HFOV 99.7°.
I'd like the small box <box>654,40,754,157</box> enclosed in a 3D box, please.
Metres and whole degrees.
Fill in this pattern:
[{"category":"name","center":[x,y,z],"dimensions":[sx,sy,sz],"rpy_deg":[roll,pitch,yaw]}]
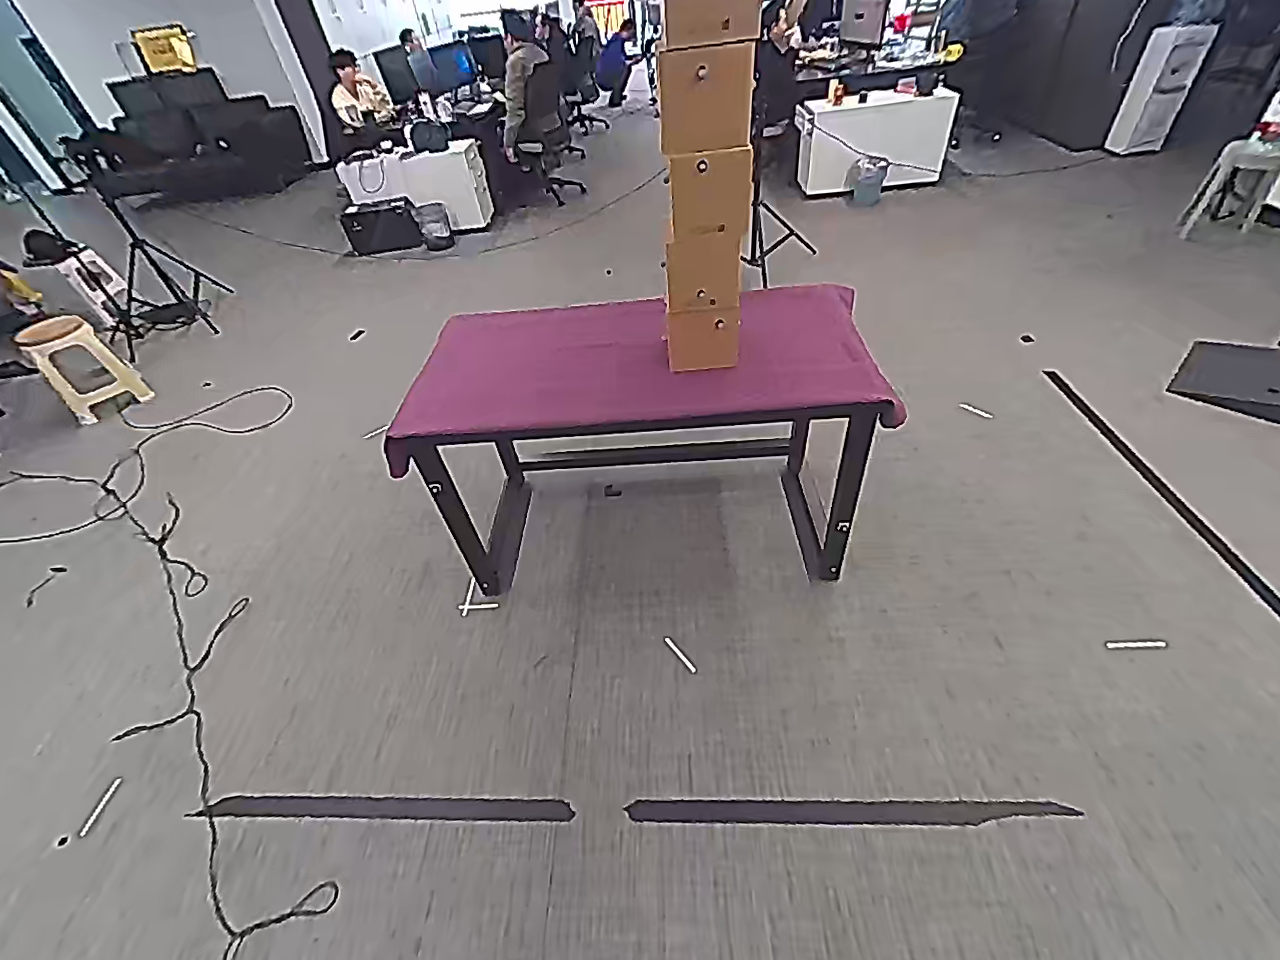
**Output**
[{"category":"small box","center":[0.122,-0.763,1.072],"dimensions":[0.179,0.176,0.168],"rpy_deg":[-5,44,3]}]

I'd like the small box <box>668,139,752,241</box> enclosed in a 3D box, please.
[{"category":"small box","center":[0.145,-0.638,1.175],"dimensions":[0.168,0.176,0.179],"rpy_deg":[-5,43,4]}]

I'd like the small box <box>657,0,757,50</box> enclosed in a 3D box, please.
[{"category":"small box","center":[0.115,-0.883,0.963],"dimensions":[0.168,0.176,0.179],"rpy_deg":[-5,43,1]}]

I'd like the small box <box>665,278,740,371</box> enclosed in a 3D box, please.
[{"category":"small box","center":[0.159,-0.401,1.400],"dimensions":[0.179,0.176,0.168],"rpy_deg":[-5,43,4]}]
